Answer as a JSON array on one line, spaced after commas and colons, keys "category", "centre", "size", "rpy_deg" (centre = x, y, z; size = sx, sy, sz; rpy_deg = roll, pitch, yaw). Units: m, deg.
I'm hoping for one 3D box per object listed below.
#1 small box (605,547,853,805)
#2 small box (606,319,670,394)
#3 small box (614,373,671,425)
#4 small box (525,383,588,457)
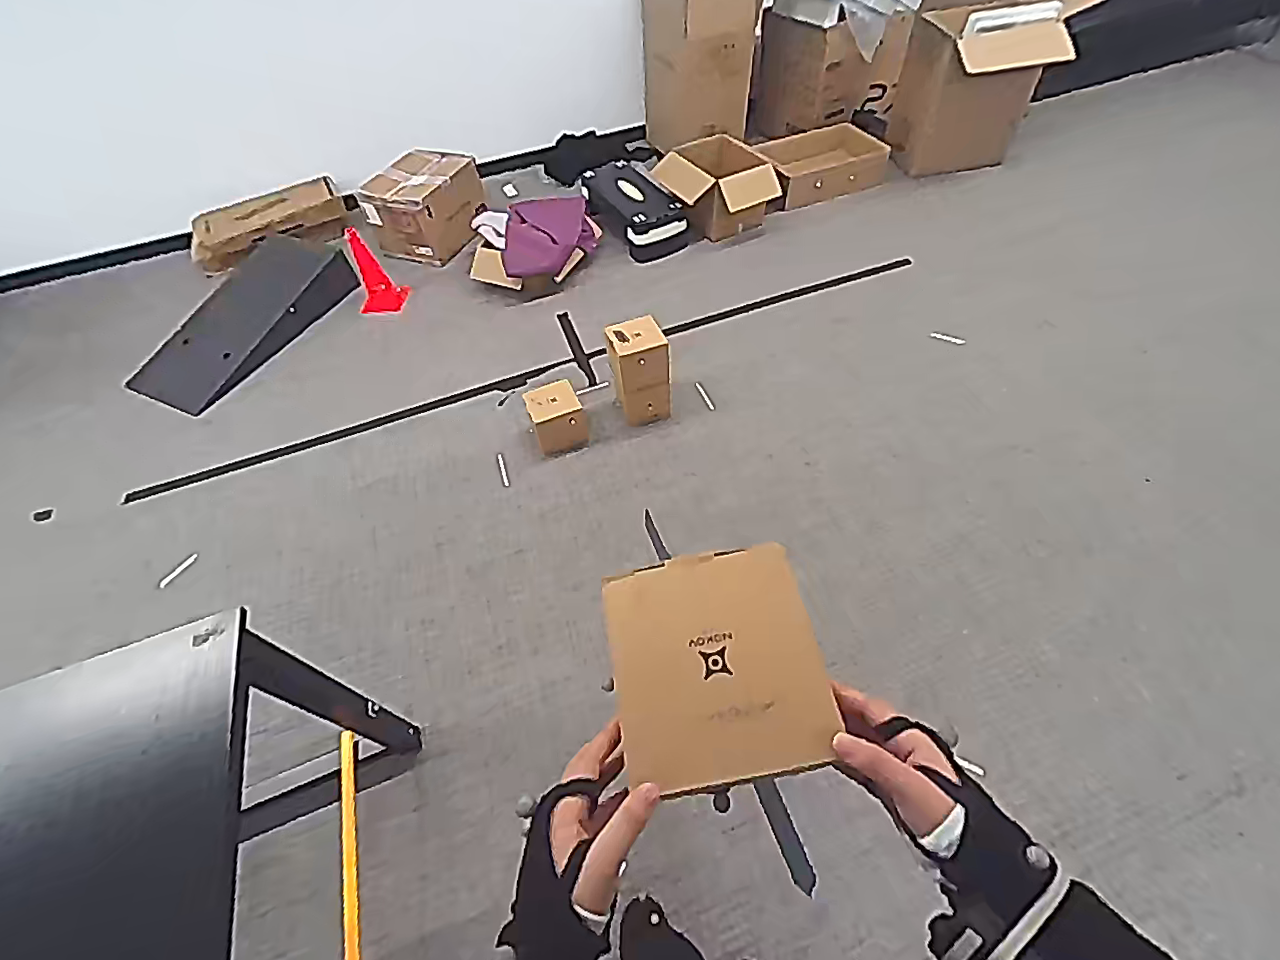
[{"category": "small box", "centre": [0.066, 0.186, 0.498], "size": [0.168, 0.176, 0.179], "rpy_deg": [-11, 58, -1]}, {"category": "small box", "centre": [-0.004, -0.421, 1.863], "size": [0.179, 0.176, 0.168], "rpy_deg": [-18, 53, -10]}, {"category": "small box", "centre": [0.013, -0.322, 1.995], "size": [0.168, 0.176, 0.179], "rpy_deg": [-17, 54, -8]}, {"category": "small box", "centre": [-0.293, -0.214, 1.939], "size": [0.179, 0.176, 0.168], "rpy_deg": [-21, 54, -10]}]
